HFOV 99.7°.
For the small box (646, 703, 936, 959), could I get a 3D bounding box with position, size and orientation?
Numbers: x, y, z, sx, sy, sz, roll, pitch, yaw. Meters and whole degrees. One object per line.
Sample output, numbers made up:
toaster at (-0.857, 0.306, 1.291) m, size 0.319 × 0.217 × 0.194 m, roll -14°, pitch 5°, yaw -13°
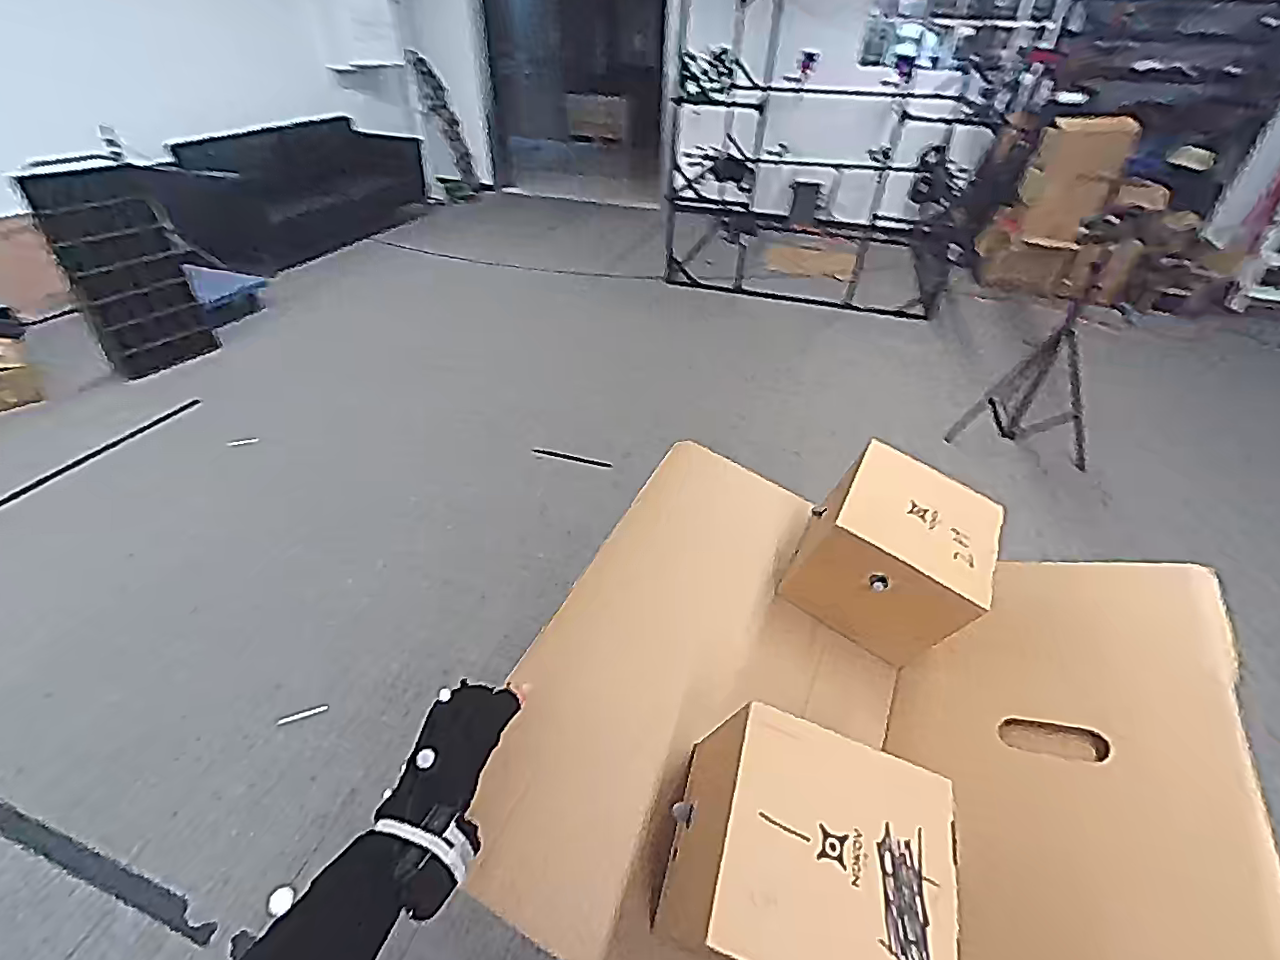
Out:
small box at (0.121, 0.323, 0.466) m, size 0.179 × 0.176 × 0.168 m, roll 21°, pitch 50°, yaw 3°
